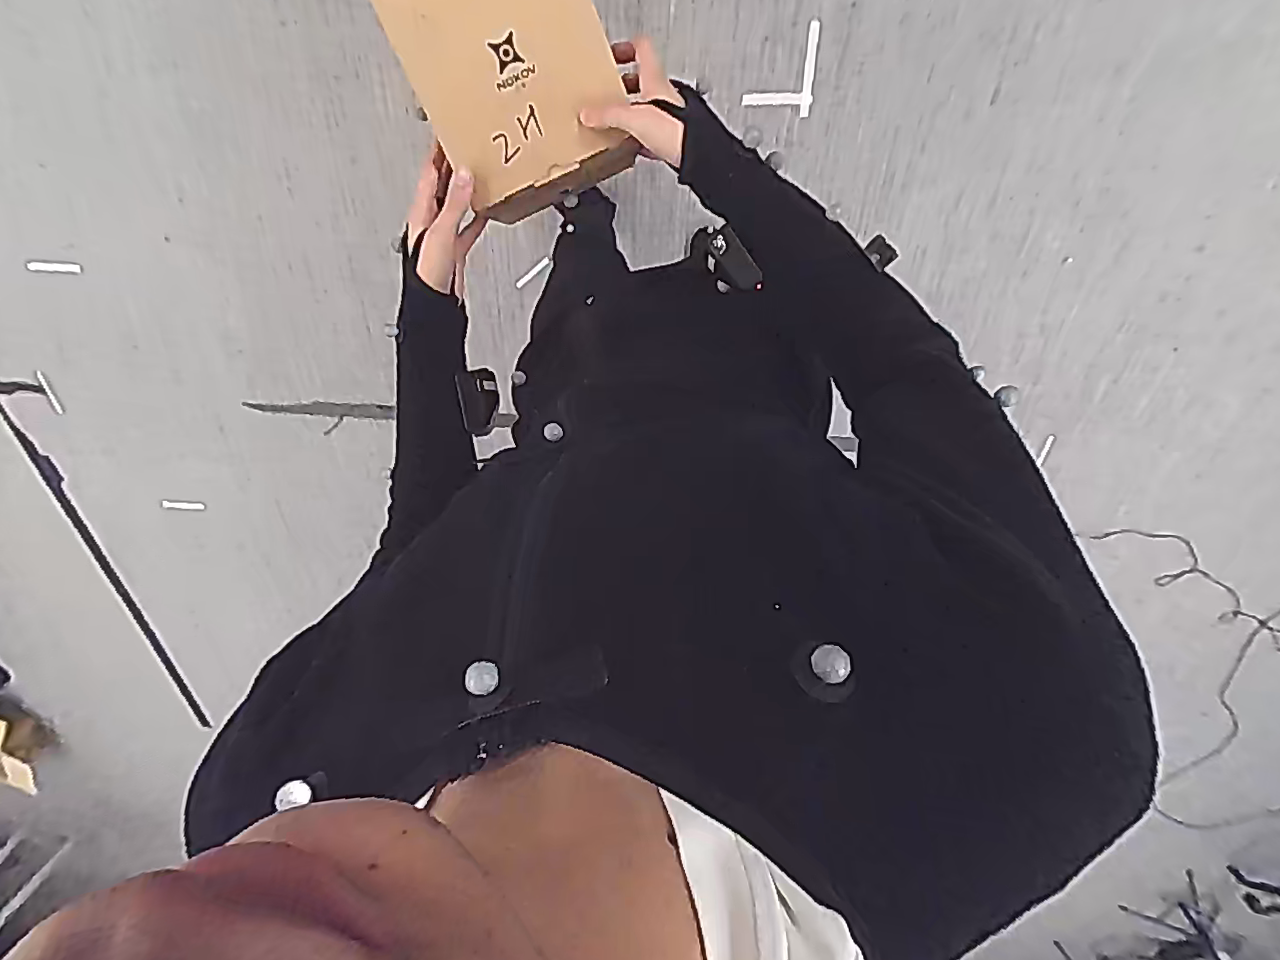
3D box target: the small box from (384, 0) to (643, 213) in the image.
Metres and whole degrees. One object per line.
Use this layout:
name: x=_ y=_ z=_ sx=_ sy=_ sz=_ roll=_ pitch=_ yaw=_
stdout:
small box: x=-0.107 y=-0.379 z=0.518 sx=0.168 sy=0.176 sz=0.179 roll=-21 pitch=112 yaw=6
